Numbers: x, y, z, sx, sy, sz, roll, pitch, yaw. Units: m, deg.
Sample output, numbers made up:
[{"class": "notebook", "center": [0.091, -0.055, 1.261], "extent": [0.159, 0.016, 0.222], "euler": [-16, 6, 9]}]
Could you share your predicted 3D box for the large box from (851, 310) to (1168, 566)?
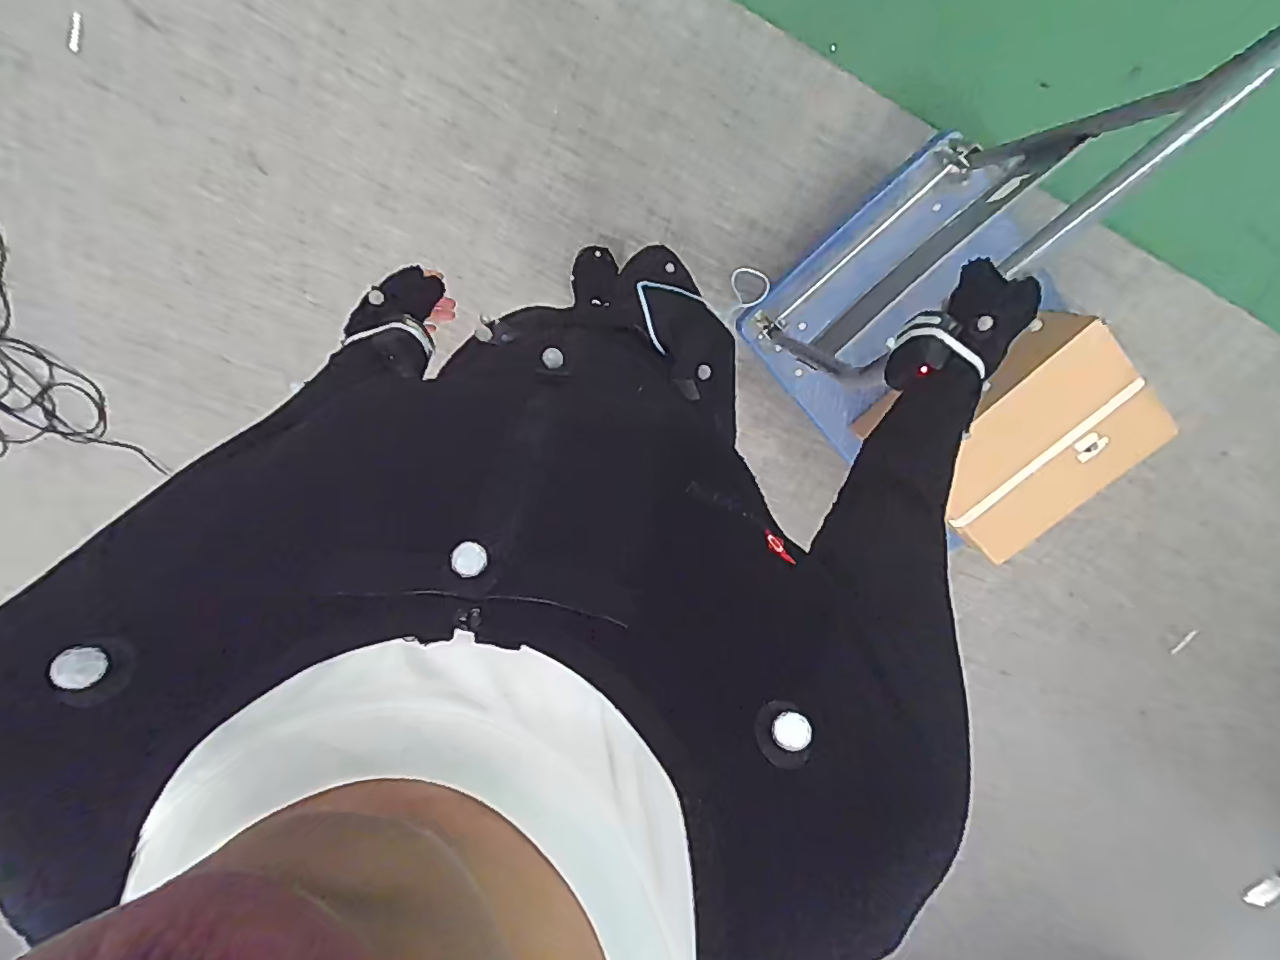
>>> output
[{"class": "large box", "center": [0.755, -0.103, 1.170], "extent": [0.320, 0.320, 0.408], "euler": [41, 105, -17]}]
